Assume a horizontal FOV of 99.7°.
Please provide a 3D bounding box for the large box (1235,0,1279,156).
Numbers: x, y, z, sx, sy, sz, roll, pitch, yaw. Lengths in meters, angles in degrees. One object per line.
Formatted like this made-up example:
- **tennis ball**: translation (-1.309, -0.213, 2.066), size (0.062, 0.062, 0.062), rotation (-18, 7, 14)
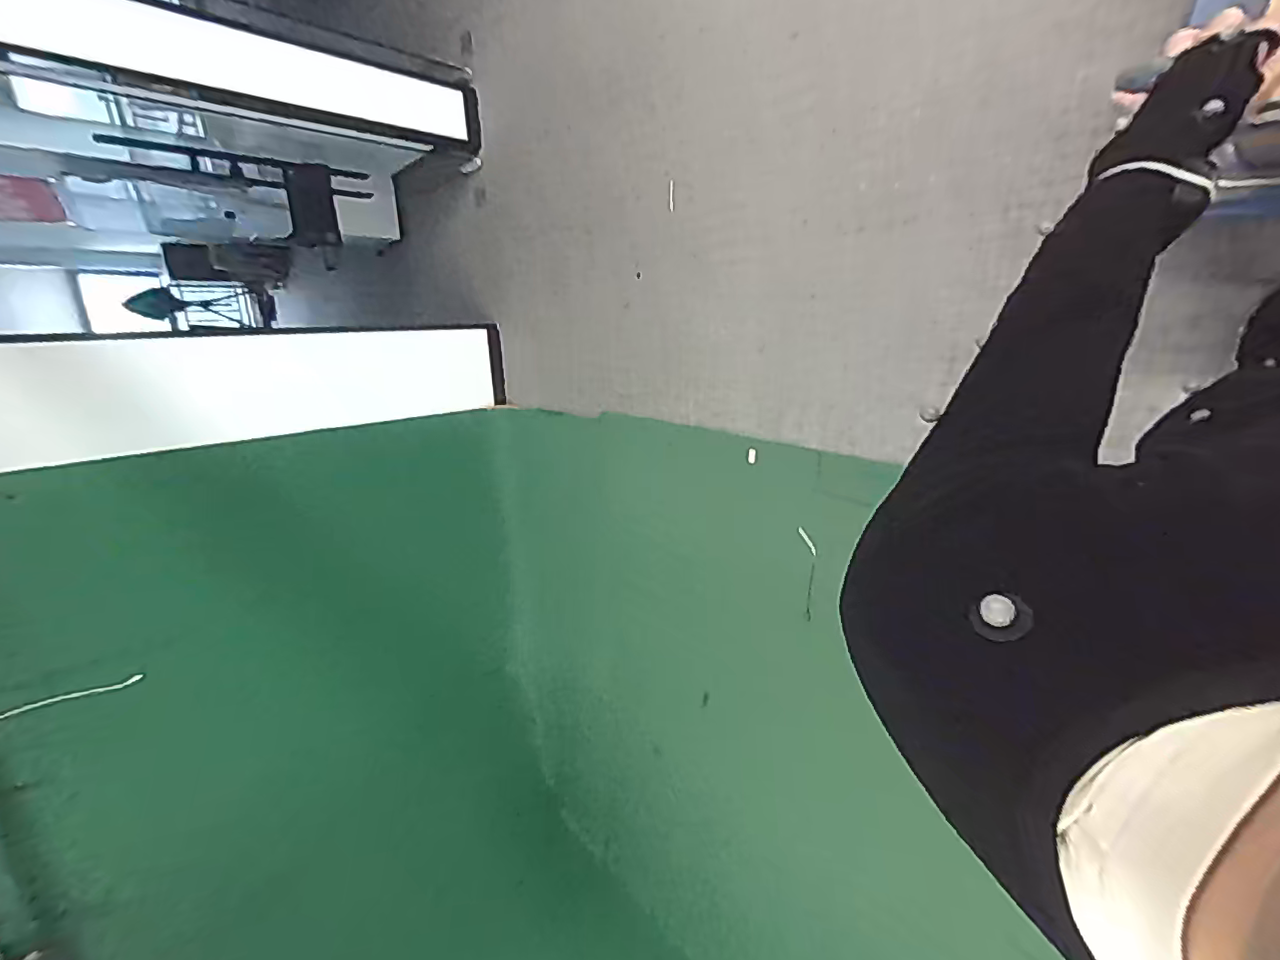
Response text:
- **large box**: translation (1.042, -0.685, 0.678), size (0.320, 0.320, 0.408), rotation (22, 115, 42)
